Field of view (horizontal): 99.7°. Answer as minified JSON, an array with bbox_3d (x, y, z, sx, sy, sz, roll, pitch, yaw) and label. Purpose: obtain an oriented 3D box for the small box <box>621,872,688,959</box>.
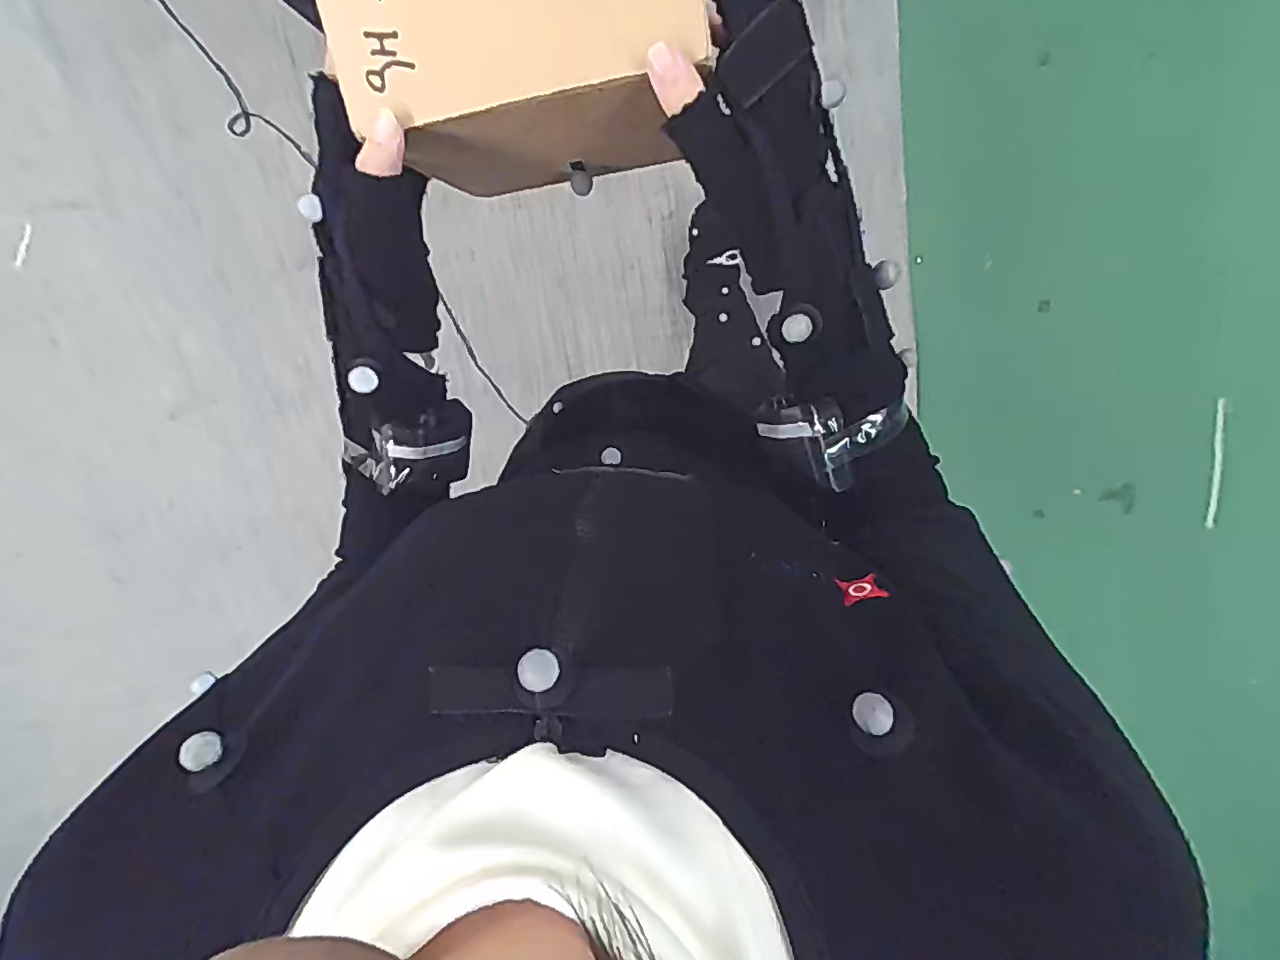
[{"bbox_3d":[0.051,1.375,1.701,0.179,0.176,0.168,-9,103,9],"label":"small box"}]
